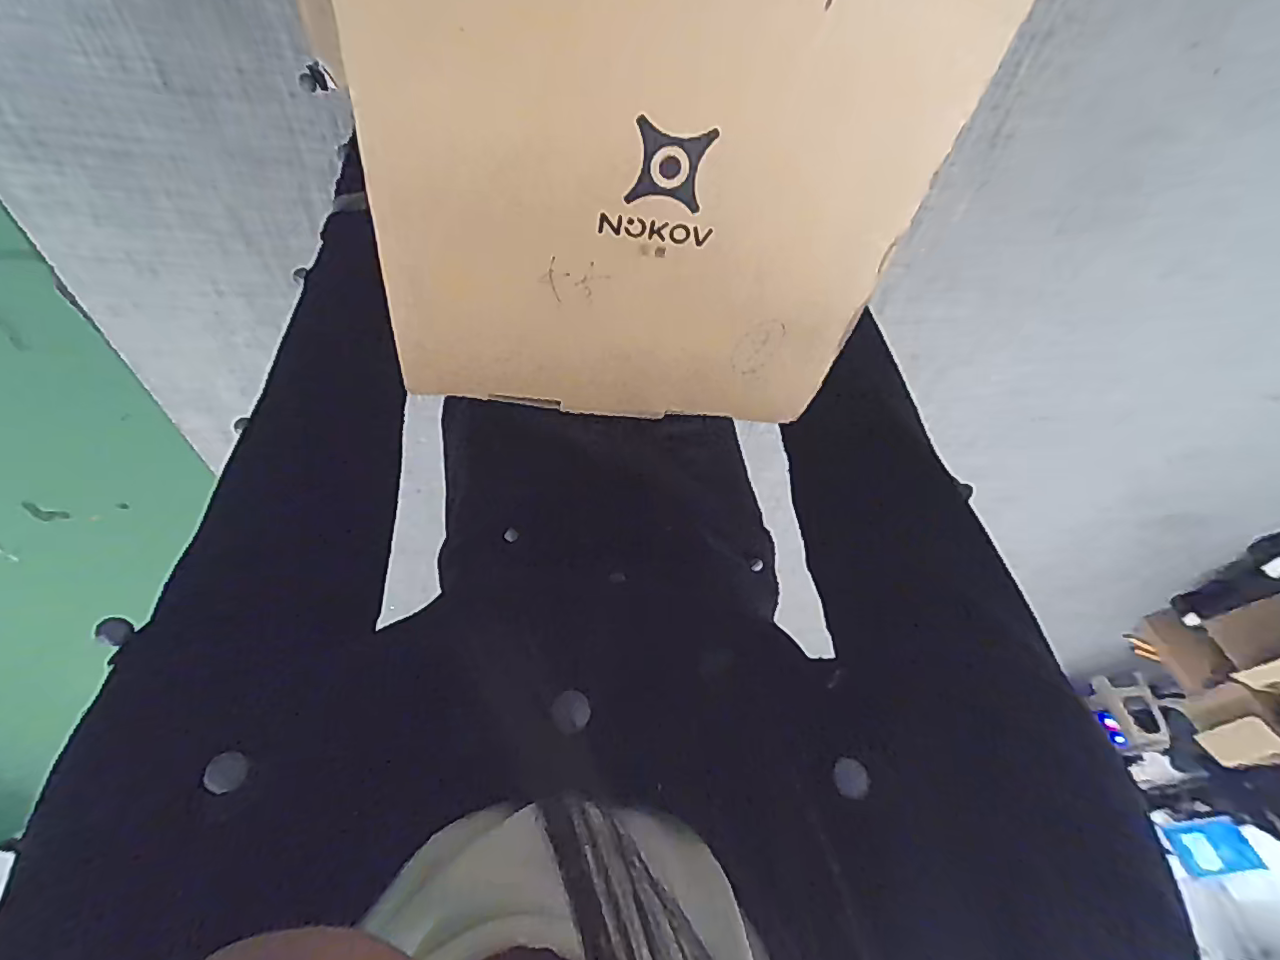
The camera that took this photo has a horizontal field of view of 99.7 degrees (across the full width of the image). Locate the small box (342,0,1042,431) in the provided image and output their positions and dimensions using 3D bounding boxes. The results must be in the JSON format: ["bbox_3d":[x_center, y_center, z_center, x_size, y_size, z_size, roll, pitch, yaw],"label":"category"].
[{"bbox_3d":[-0.003,-0.144,0.218,0.168,0.176,0.179,3,142,-13],"label":"small box"}]
